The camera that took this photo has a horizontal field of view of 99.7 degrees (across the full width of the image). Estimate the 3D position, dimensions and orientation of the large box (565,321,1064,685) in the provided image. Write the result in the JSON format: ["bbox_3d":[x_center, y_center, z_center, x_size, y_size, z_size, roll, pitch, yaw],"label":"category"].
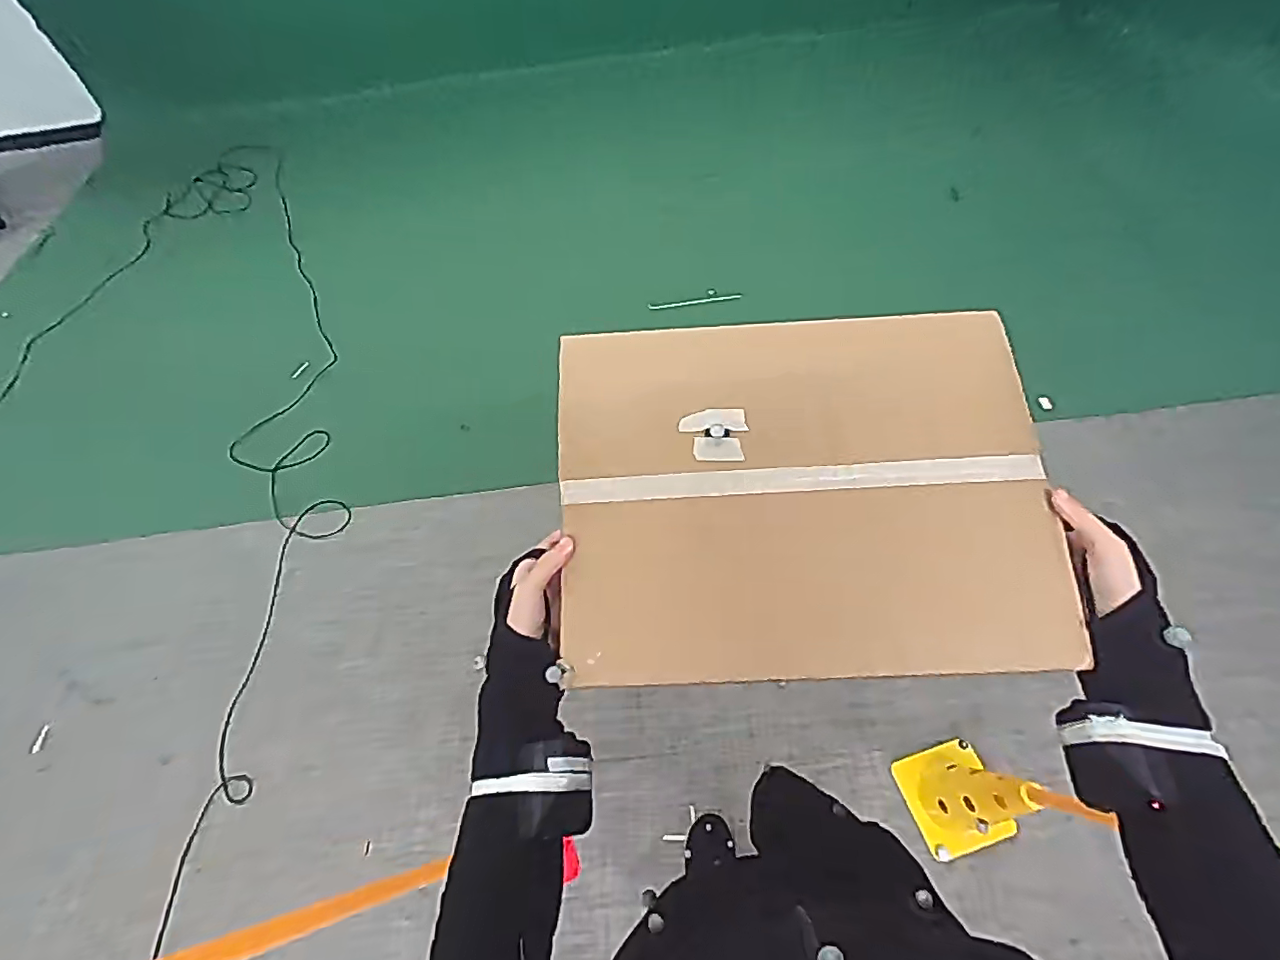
[{"bbox_3d":[0.143,0.051,0.620,0.408,0.320,0.320,-3,72,3],"label":"large box"}]
